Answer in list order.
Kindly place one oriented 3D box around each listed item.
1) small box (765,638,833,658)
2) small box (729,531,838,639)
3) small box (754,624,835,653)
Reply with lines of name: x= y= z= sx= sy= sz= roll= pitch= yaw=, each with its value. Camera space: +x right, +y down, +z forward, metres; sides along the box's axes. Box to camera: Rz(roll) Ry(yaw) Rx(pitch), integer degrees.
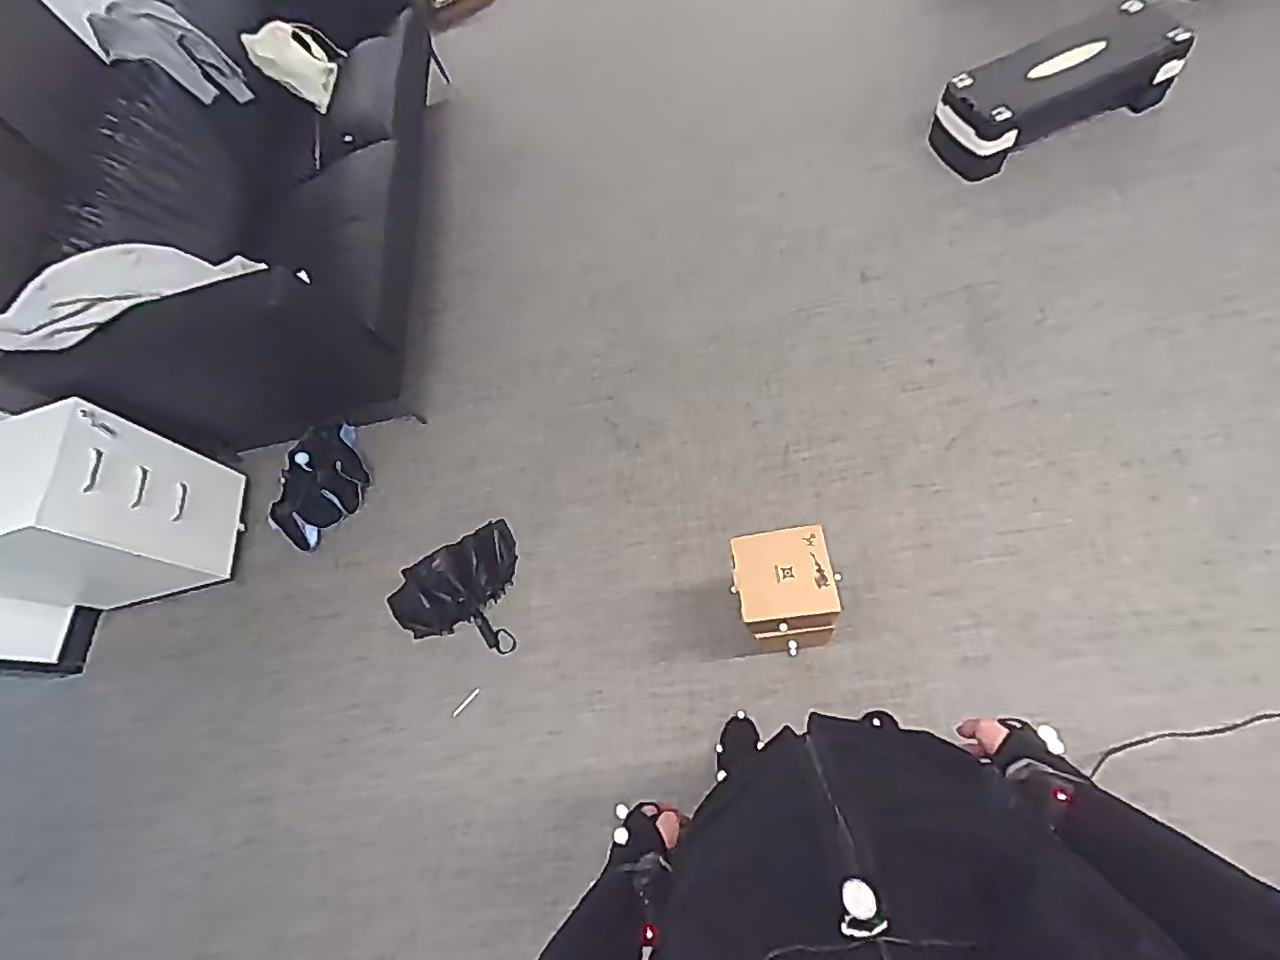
small box: x=0.373 y=0.340 z=1.360 sx=0.168 sy=0.176 sz=0.179 roll=-13 pitch=65 yaw=10
small box: x=0.283 y=0.214 z=1.070 sx=0.179 sy=0.176 sz=0.168 roll=-10 pitch=65 yaw=11
small box: x=0.327 y=0.281 z=1.213 sx=0.168 sy=0.176 sz=0.179 roll=-12 pitch=64 yaw=10
